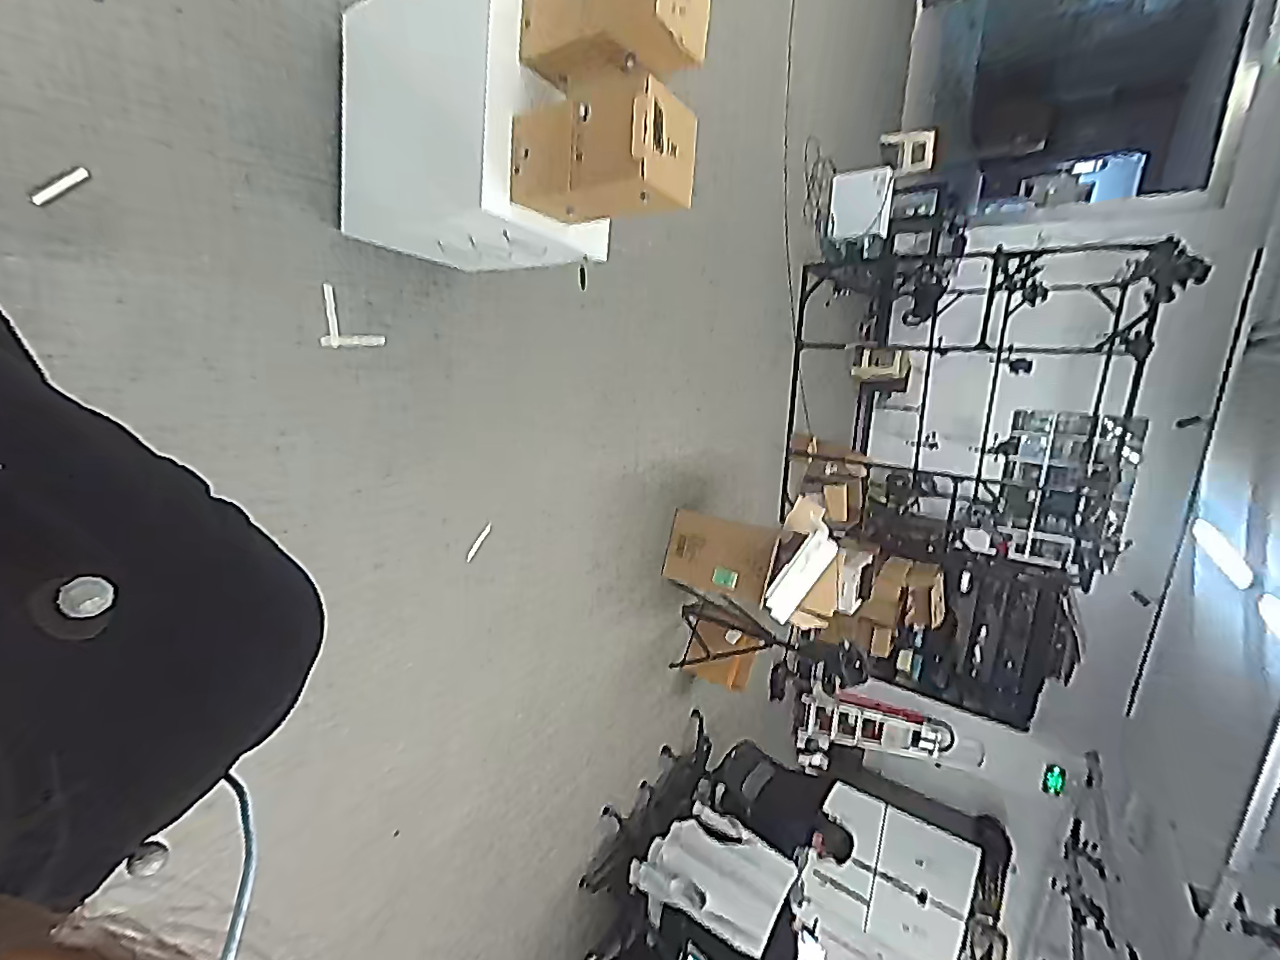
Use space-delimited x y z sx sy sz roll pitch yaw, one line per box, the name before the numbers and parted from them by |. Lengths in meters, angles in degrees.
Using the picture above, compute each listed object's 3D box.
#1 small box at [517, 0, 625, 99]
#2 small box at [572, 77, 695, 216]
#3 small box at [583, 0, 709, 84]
small box | -0.120 -0.903 1.088 0.179 0.176 0.168 -6 104 -56
small box | -0.014 -0.619 1.034 0.179 0.176 0.168 -10 107 -55
small box | 0.011 -0.875 0.992 0.168 0.176 0.179 -6 105 -54
